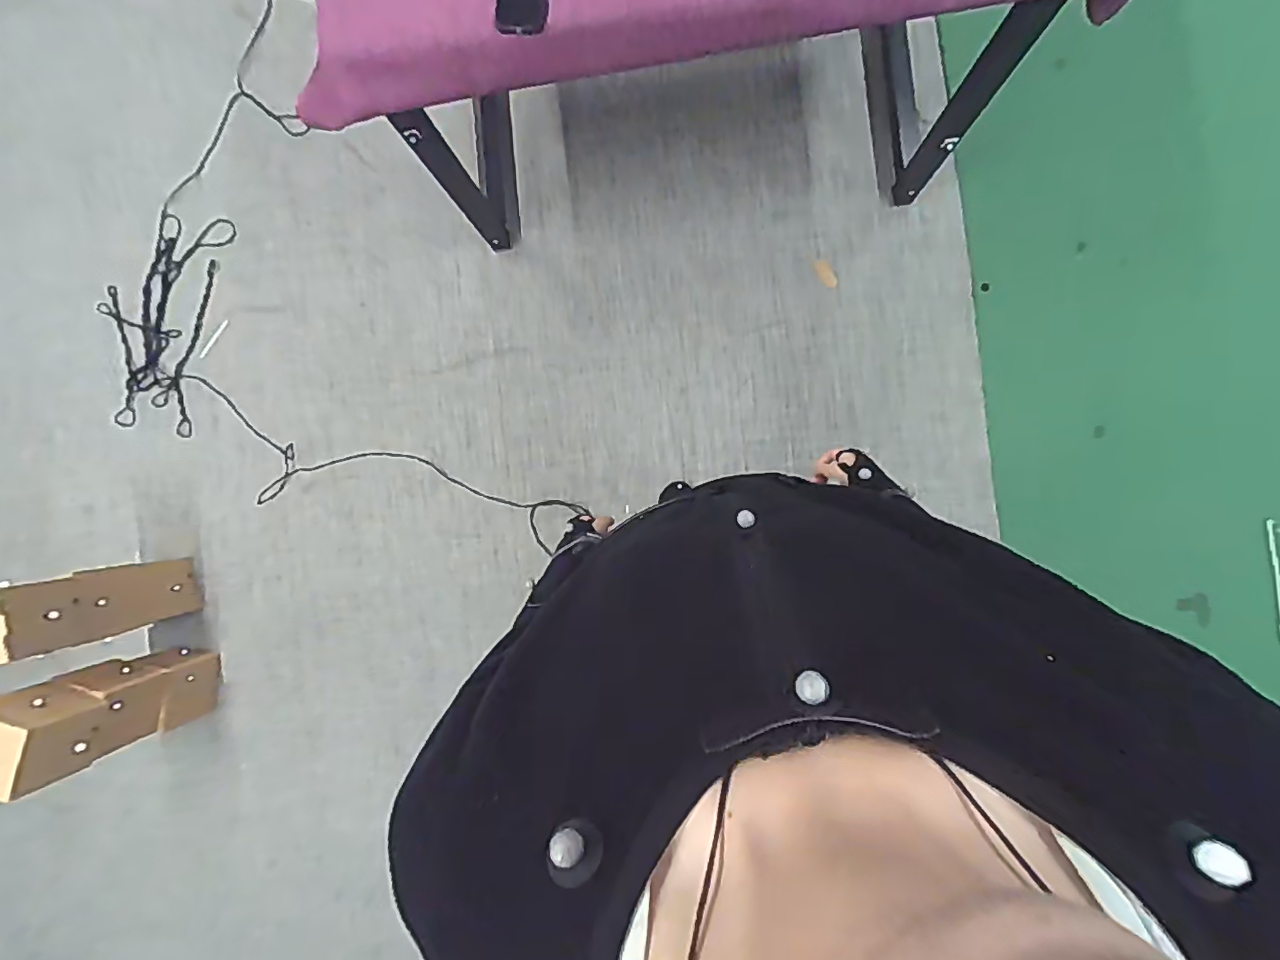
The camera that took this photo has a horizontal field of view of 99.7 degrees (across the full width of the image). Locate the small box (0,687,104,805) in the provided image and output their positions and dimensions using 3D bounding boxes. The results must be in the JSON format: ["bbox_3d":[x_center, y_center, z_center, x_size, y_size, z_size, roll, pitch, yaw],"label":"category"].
[{"bbox_3d":[-1.394,0.590,1.224,0.179,0.176,0.168,16,89,5],"label":"small box"}]

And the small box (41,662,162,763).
[{"bbox_3d":[-1.388,0.593,1.388,0.168,0.176,0.179,11,89,6],"label":"small box"}]

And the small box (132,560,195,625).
[{"bbox_3d":[-1.431,0.333,1.559,0.179,0.176,0.168,-13,87,5],"label":"small box"}]

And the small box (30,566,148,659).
[{"bbox_3d":[-1.431,0.335,1.396,0.168,0.176,0.179,-18,87,3],"label":"small box"}]

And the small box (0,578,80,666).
[{"bbox_3d":[-1.440,0.327,1.233,0.179,0.176,0.168,-10,88,3],"label":"small box"}]
